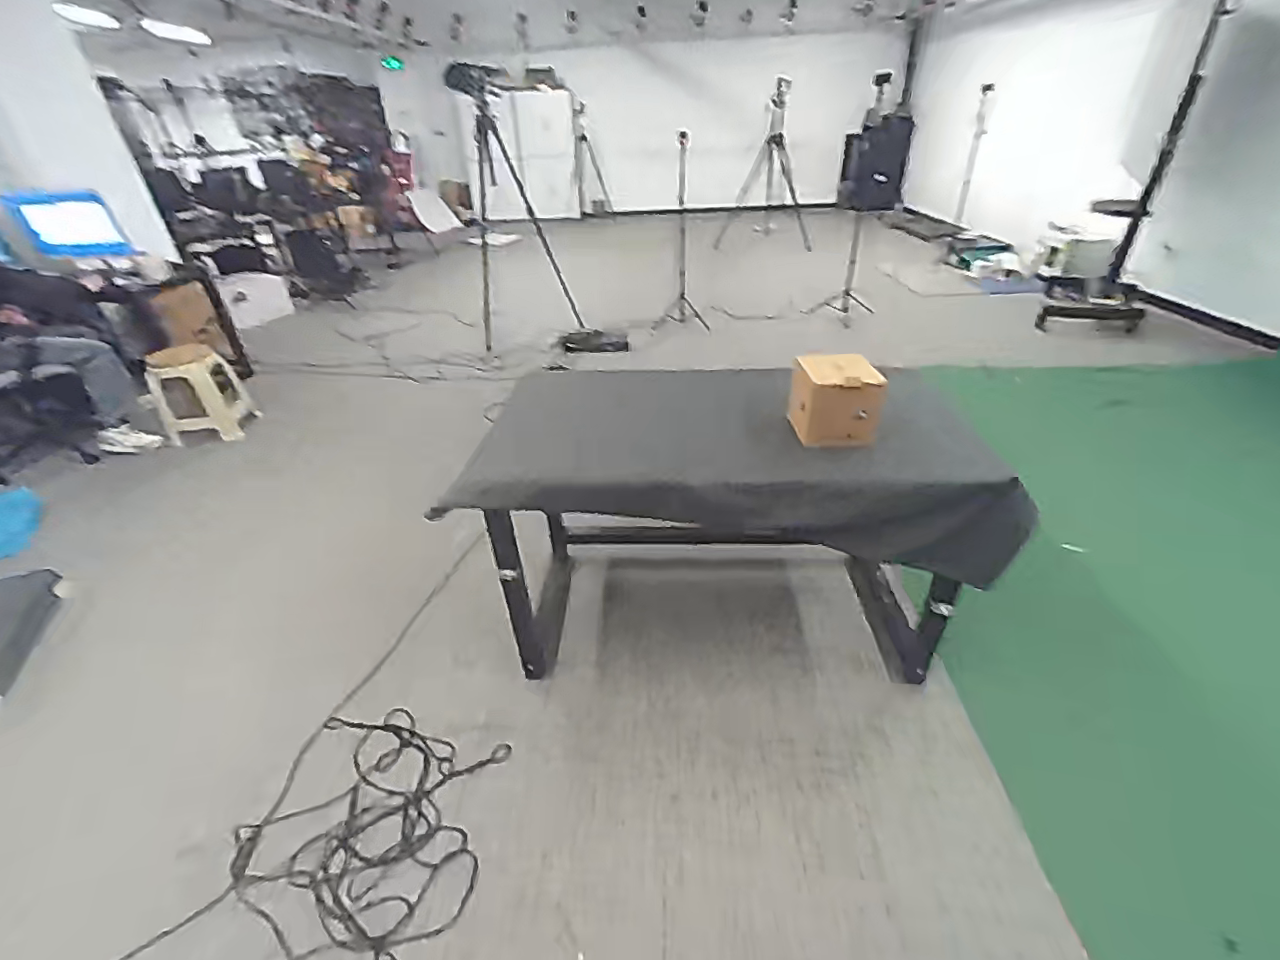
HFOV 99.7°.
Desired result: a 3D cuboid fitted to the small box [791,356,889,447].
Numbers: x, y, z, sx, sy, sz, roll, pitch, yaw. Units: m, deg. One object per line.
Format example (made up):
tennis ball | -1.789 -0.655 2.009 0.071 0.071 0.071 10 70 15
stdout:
small box | 0.472 -0.188 1.303 0.168 0.176 0.179 -1 32 0
